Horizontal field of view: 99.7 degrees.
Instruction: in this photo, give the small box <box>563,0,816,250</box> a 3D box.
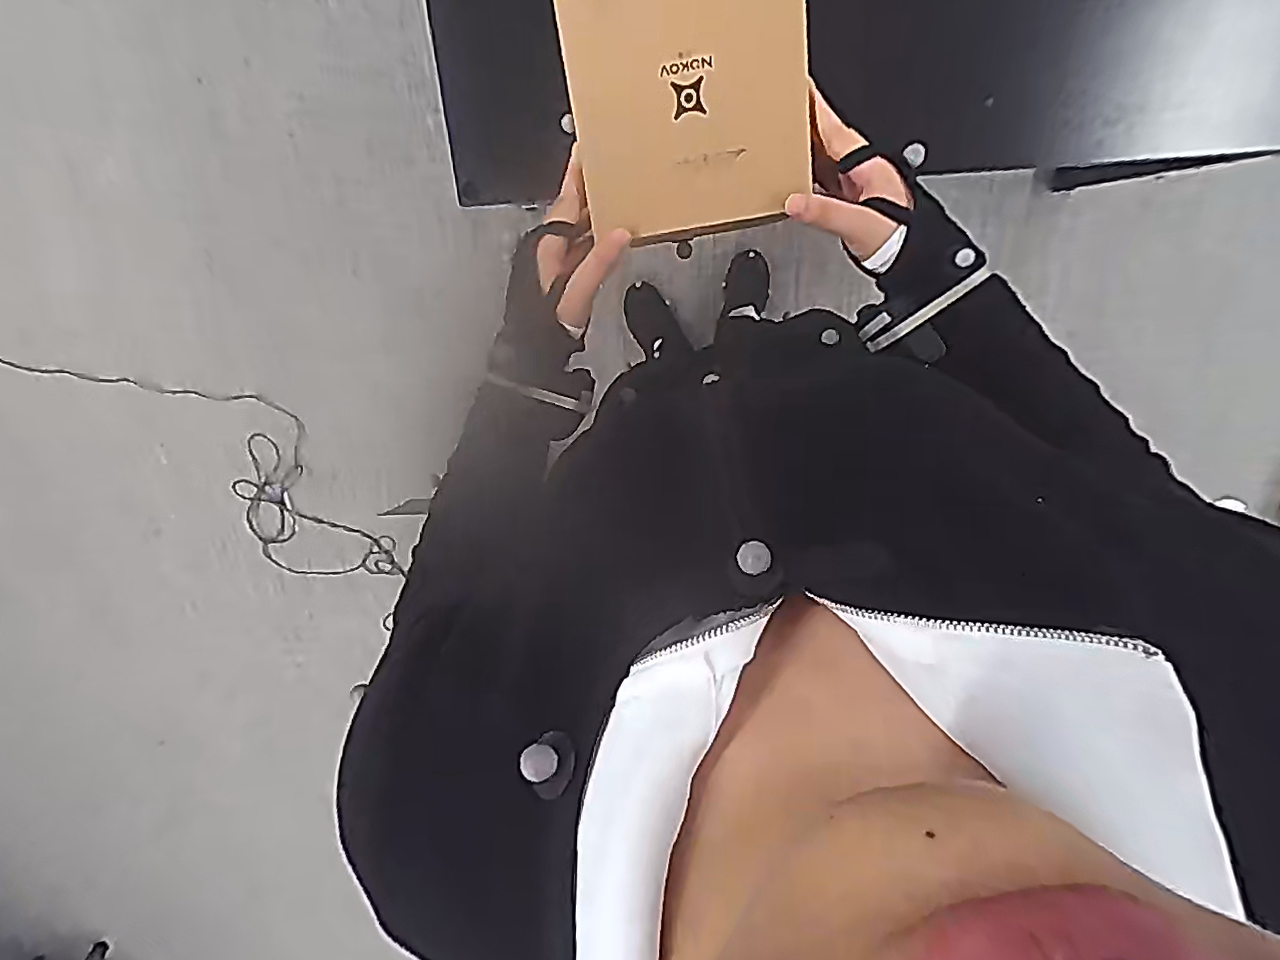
[{"bbox_3d":[0.041,-0.298,0.449,0.168,0.176,0.179,-7,111,7],"label":"small box"}]
